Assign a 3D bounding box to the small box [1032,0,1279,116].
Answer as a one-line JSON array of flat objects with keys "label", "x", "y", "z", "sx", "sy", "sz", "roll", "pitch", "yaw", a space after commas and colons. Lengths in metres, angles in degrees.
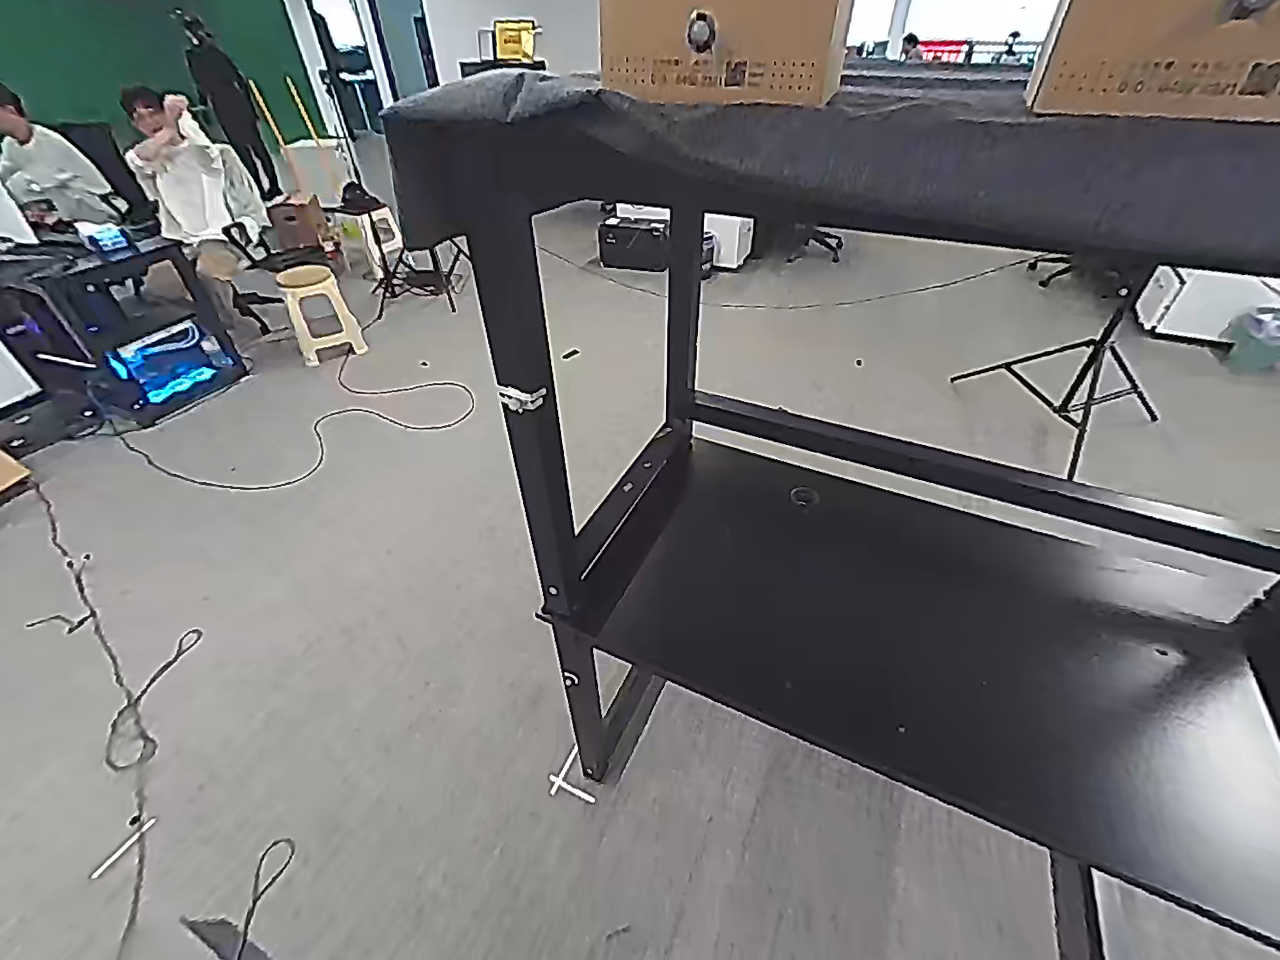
[{"label": "small box", "x": 0.361, "y": -0.326, "z": 0.321, "sx": 0.168, "sy": 0.176, "sz": 0.179, "roll": 18, "pitch": 42, "yaw": 22}]
